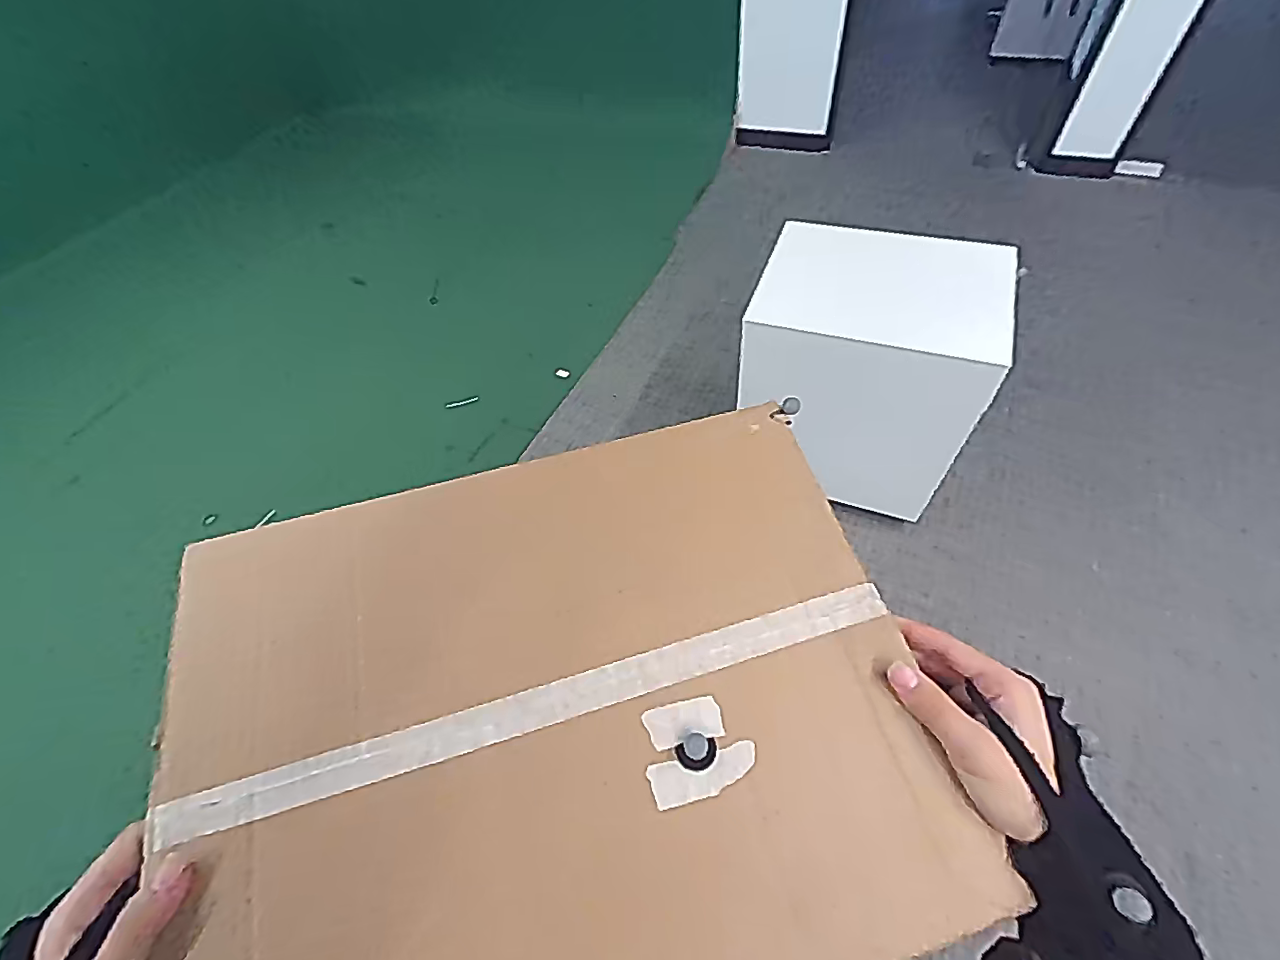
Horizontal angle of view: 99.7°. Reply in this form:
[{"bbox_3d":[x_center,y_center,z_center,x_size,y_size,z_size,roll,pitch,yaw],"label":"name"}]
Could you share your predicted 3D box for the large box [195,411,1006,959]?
[{"bbox_3d":[-0.043,0.194,0.447,0.408,0.320,0.320,-14,63,-9],"label":"large box"}]
